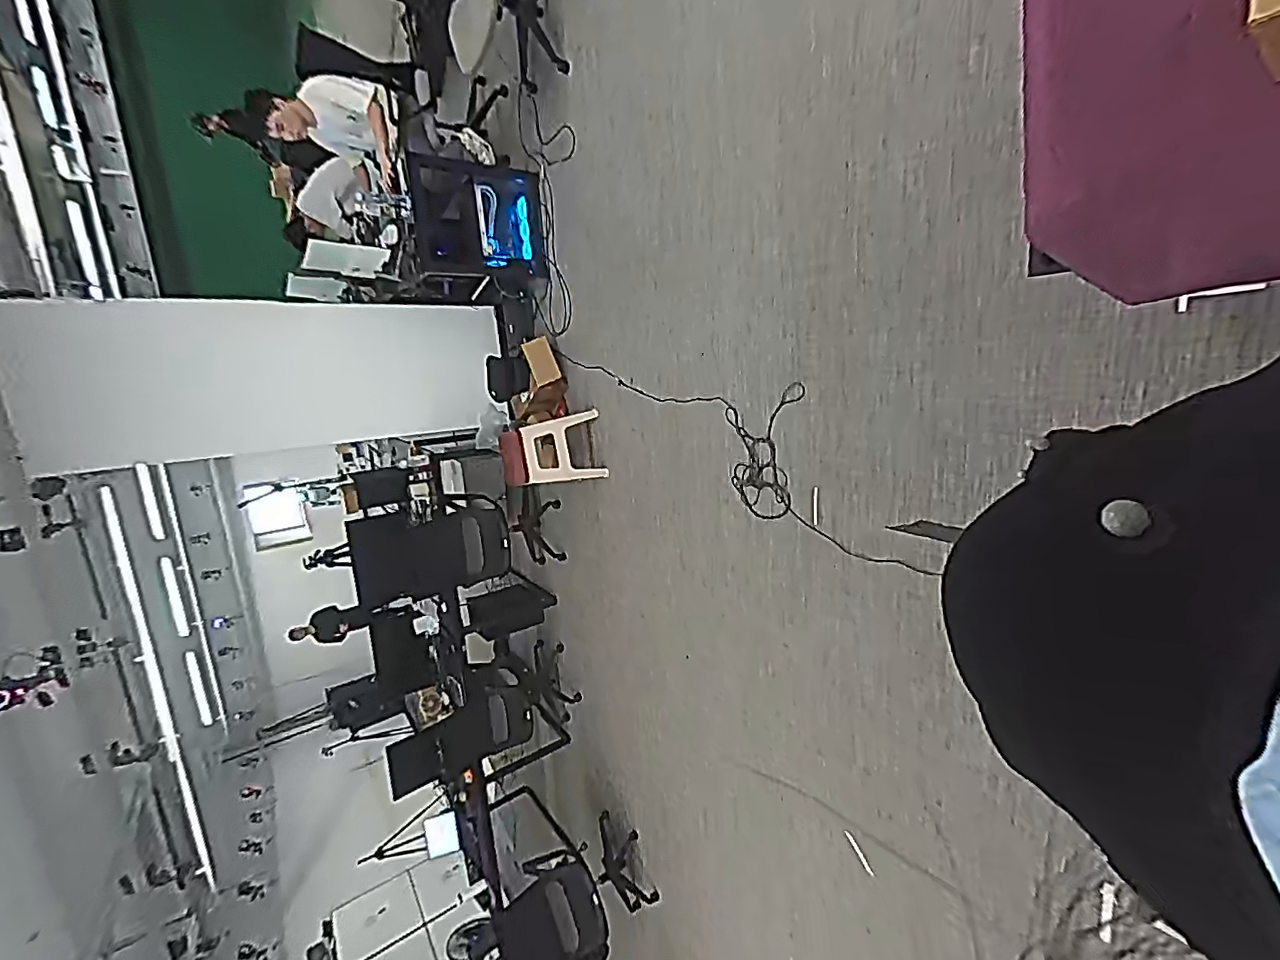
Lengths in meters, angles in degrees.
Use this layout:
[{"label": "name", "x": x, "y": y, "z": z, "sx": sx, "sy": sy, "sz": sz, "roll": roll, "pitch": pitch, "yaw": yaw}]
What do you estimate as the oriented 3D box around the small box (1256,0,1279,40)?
[{"label": "small box", "x": 0.549, "y": -0.428, "z": 0.357, "sx": 0.168, "sy": 0.176, "sz": 0.179, "roll": 8, "pitch": 107, "yaw": 54}]
